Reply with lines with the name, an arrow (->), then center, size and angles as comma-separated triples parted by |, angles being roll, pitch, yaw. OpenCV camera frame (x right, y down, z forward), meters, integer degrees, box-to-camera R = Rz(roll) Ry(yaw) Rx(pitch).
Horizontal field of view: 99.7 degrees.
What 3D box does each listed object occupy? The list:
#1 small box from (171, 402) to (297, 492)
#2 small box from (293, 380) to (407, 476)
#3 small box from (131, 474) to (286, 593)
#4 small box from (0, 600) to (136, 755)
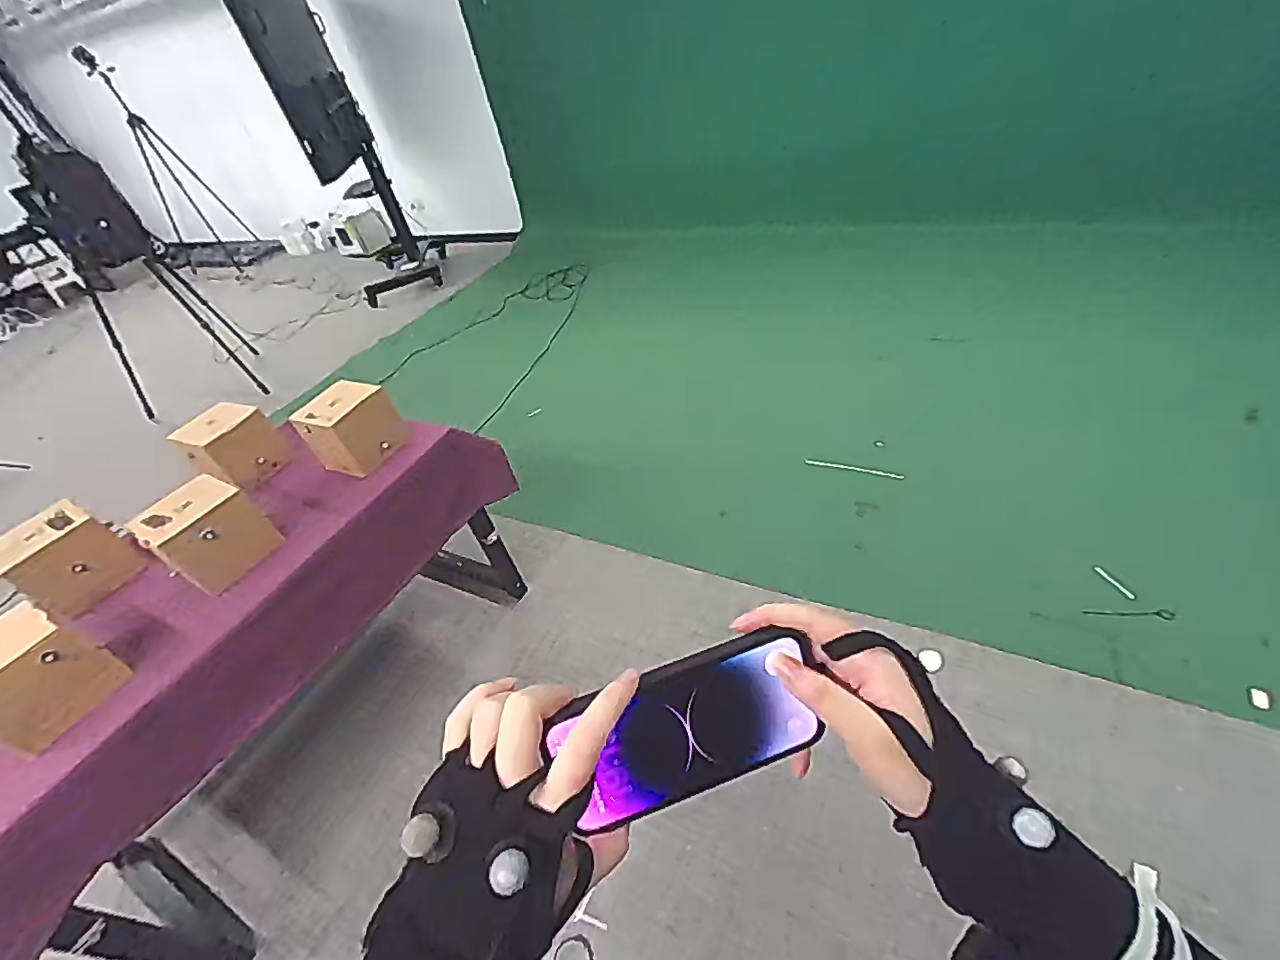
small box -> -1.080, -0.088, 1.449 | 0.179, 0.176, 0.168 | 10, 47, 25
small box -> -0.741, -0.137, 1.409 | 0.168, 0.176, 0.179 | 11, 47, 26
small box -> -0.934, 0.117, 1.184 | 0.168, 0.176, 0.179 | 15, 48, 29
small box -> -1.079, 0.353, 0.965 | 0.168, 0.176, 0.179 | 13, 47, 28
